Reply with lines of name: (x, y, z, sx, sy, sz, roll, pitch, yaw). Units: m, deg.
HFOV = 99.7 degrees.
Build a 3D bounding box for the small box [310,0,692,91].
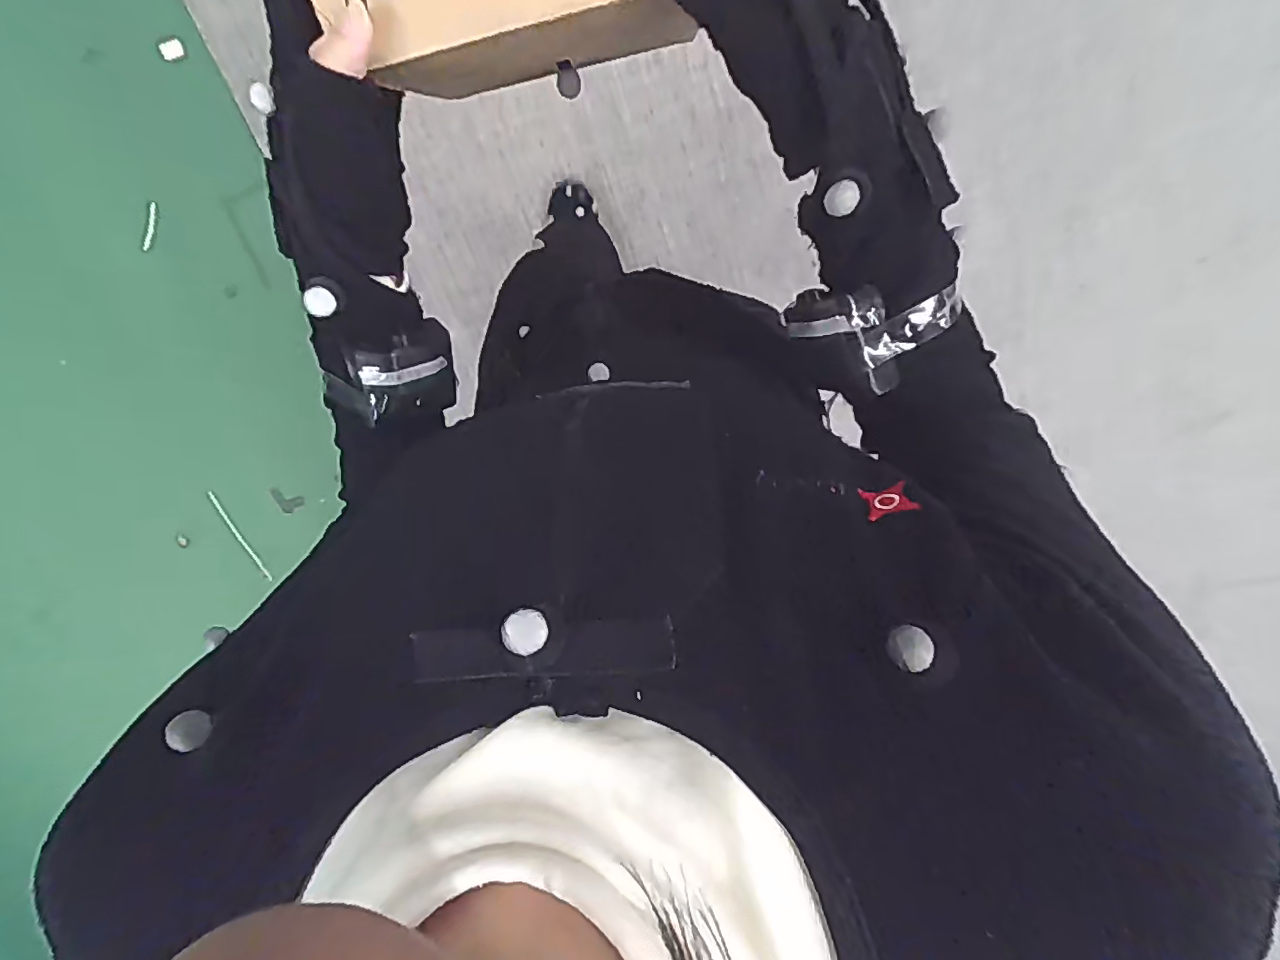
small box: (-0.068, -0.310, 0.261, 0.179, 0.176, 0.168, -9, 120, 6)
